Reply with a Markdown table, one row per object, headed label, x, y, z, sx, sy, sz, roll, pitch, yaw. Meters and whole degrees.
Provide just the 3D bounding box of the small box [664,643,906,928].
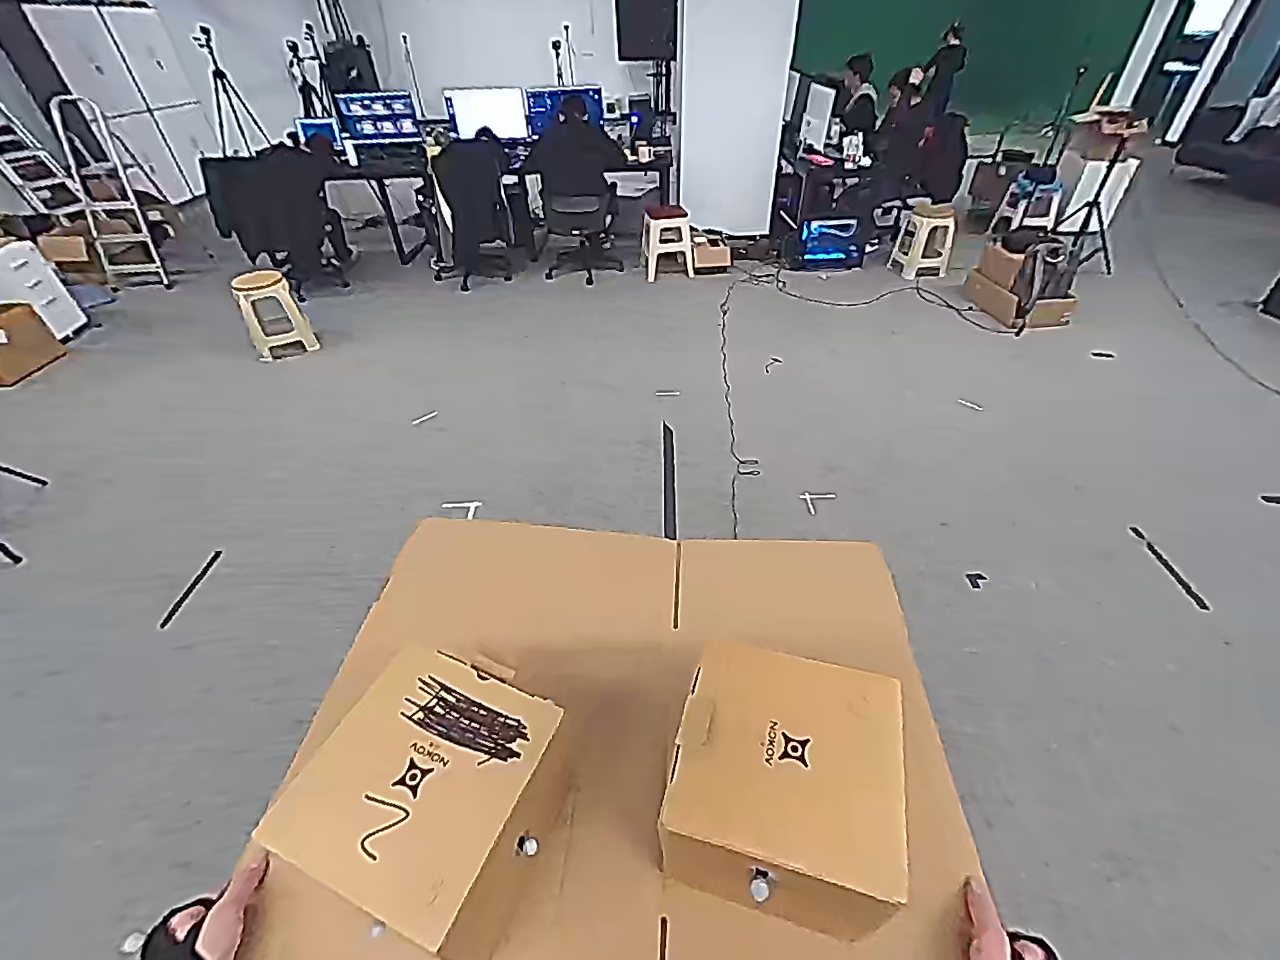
| label | x | y | z | sx | sy | sz | roll | pitch | yaw |
| --- | --- | --- | --- | --- | --- | --- | --- | --- | --- |
| small box | 0.132 | 0.282 | 0.502 | 0.179 | 0.176 | 0.168 | 8 | 44 | 16 |
